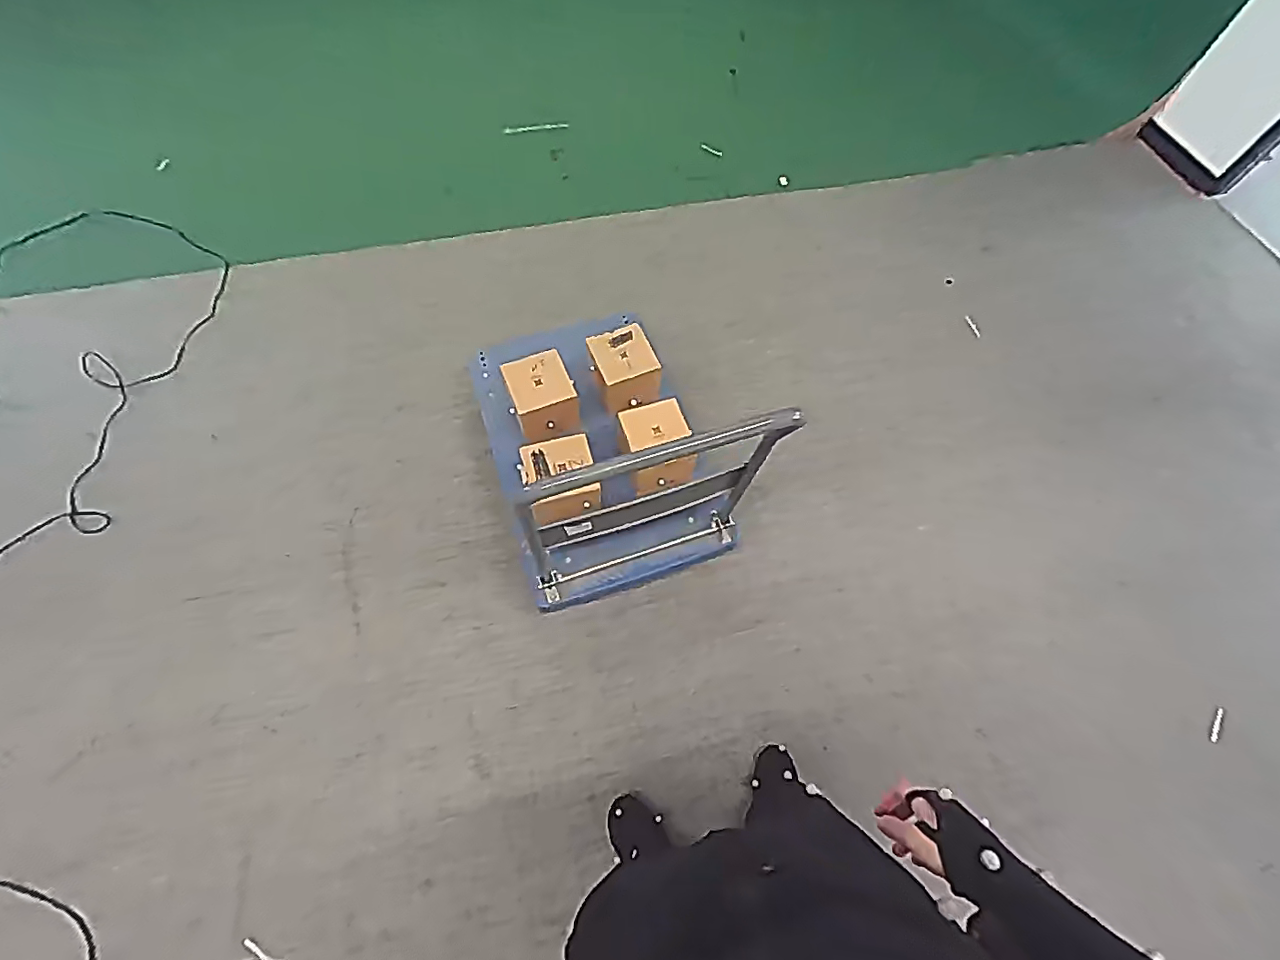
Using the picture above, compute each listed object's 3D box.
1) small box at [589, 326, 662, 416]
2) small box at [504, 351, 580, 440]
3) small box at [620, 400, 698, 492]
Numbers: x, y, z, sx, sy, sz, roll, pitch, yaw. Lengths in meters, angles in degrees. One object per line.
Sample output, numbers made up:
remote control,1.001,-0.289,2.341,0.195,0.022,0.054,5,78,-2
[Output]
small box,-0.047,-0.322,1.613,0.168,0.176,0.179,-21,68,-11
small box,-0.277,-0.234,1.562,0.168,0.176,0.179,-20,66,-12
small box,0.045,-0.091,1.506,0.168,0.176,0.179,-16,66,-10
